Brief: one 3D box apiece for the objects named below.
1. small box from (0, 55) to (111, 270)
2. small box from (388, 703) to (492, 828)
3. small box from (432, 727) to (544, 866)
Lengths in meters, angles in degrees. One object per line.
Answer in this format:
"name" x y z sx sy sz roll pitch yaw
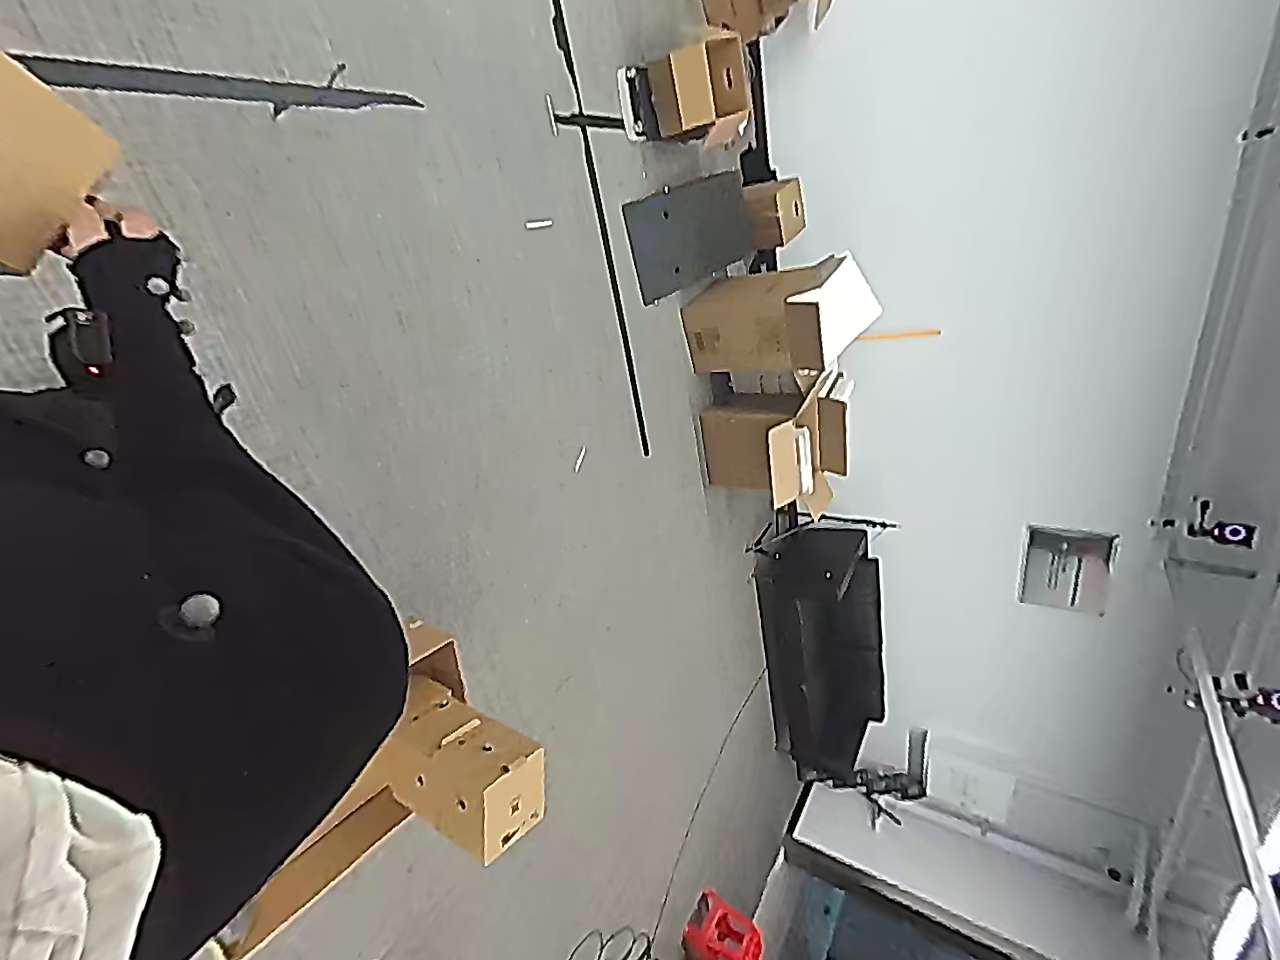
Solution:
"small box" -0.660 -0.317 0.490 0.179 0.176 0.168 43 64 -58
"small box" -0.456 0.638 1.241 0.168 0.176 0.179 -16 110 -53
"small box" -0.323 0.650 1.145 0.168 0.176 0.179 -9 103 -54
